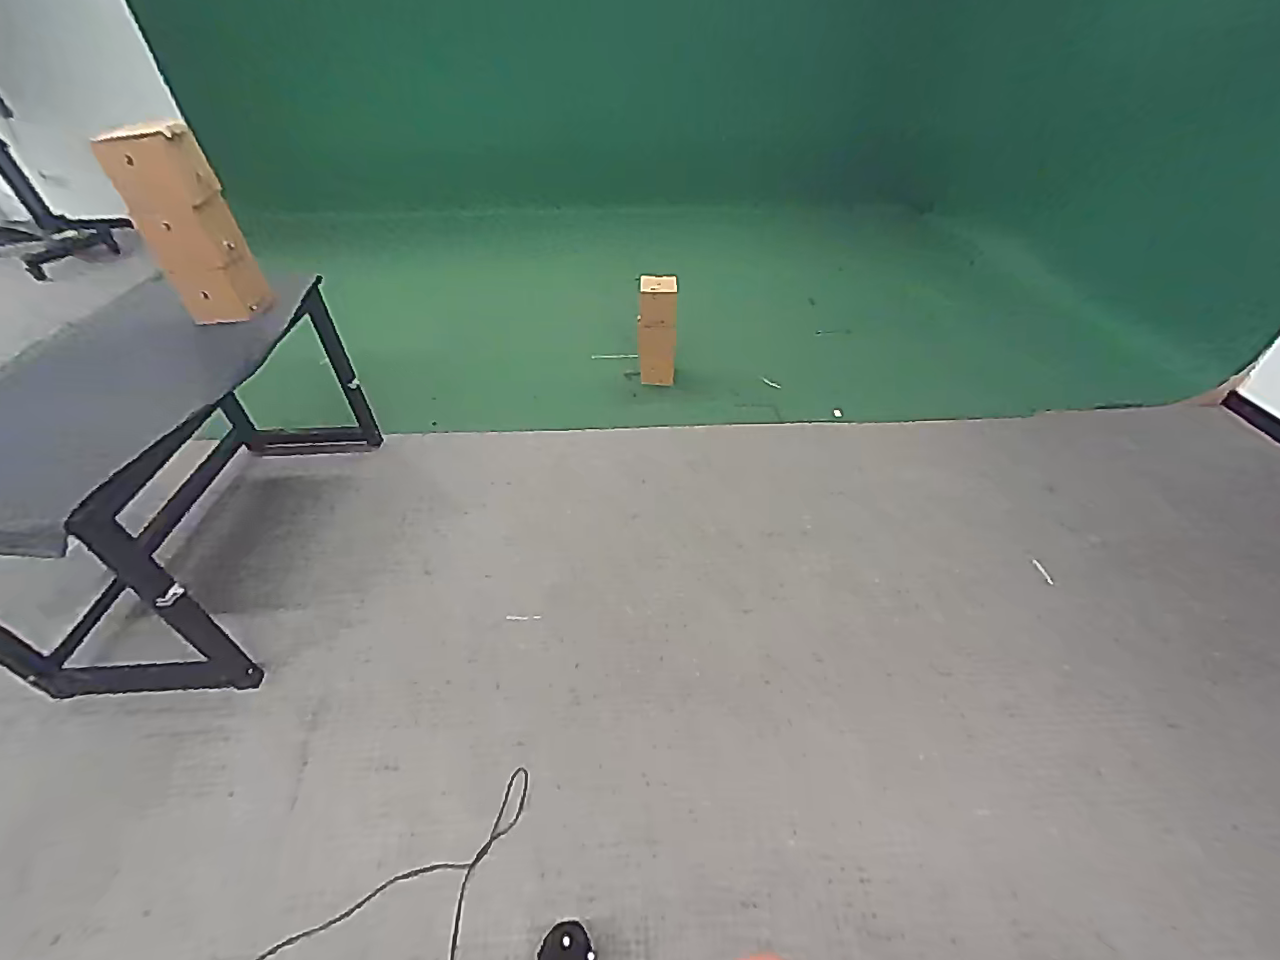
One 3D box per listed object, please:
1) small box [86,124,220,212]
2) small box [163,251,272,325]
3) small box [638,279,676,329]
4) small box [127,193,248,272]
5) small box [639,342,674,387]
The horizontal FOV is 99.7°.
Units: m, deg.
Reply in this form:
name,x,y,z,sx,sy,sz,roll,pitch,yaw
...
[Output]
name,x,y,z,sx,sy,sz,roll,pitch,yaw
small box,-1.296,-0.837,1.455,0.179,0.176,0.168,-8,45,-5
small box,-1.296,-0.596,1.677,0.179,0.176,0.168,-4,43,1
small box,0.078,-0.820,2.514,0.168,0.176,0.179,2,42,1
small box,-1.298,-0.714,1.566,0.179,0.176,0.168,-5,44,-3
small box,0.084,-0.585,2.743,0.168,0.176,0.179,4,42,4
